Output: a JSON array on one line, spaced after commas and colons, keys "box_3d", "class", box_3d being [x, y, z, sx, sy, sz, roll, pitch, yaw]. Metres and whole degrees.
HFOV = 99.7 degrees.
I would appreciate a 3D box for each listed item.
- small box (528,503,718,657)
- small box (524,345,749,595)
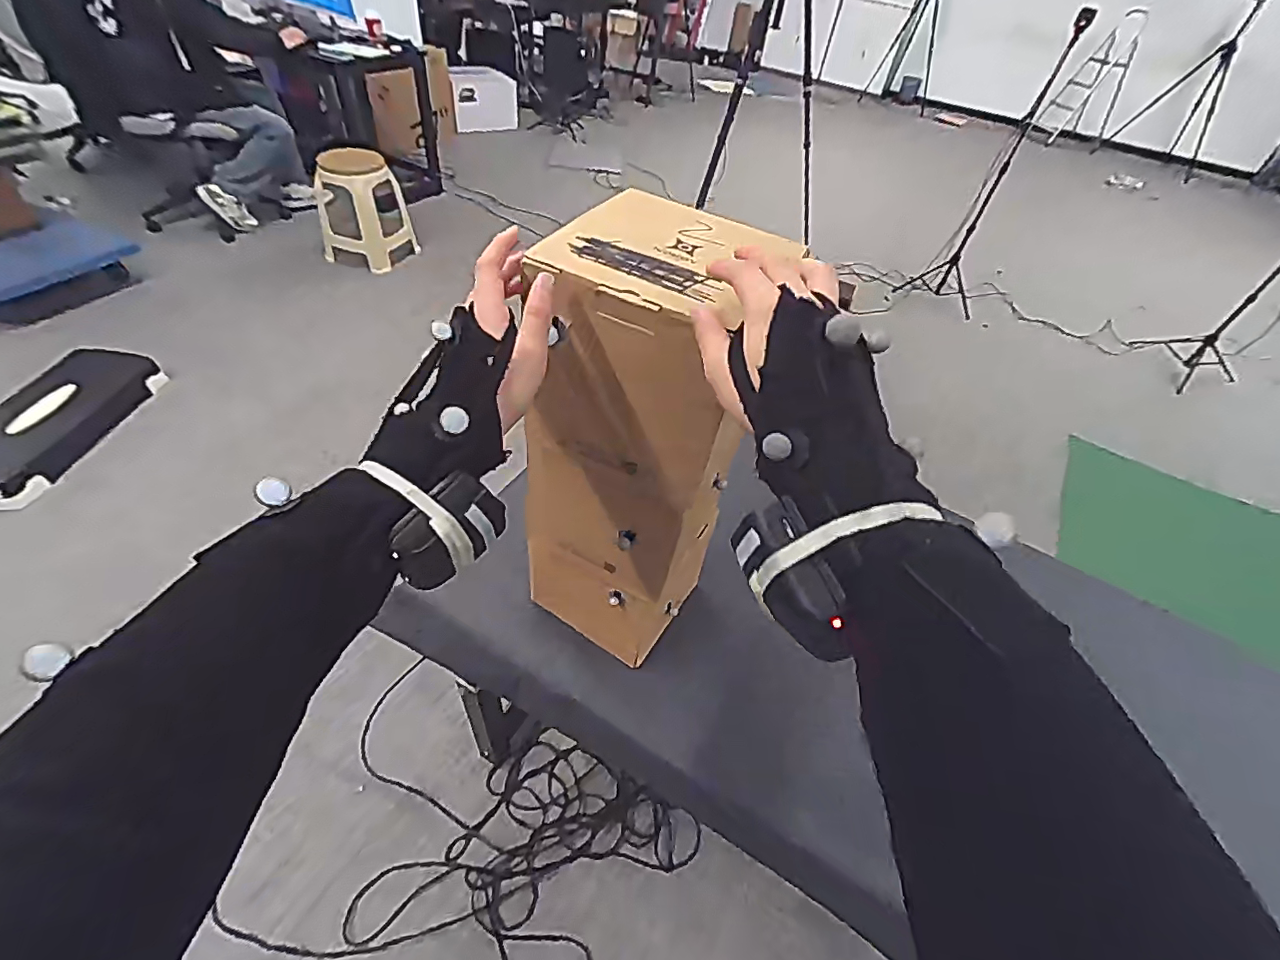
[{"box_3d": [-0.027, 0.096, 0.703, 0.179, 0.176, 0.168, 29, 48, 17], "class": "small box"}, {"box_3d": [-0.005, -0.010, 0.581, 0.168, 0.176, 0.179, 26, 47, 13], "class": "small box"}]
